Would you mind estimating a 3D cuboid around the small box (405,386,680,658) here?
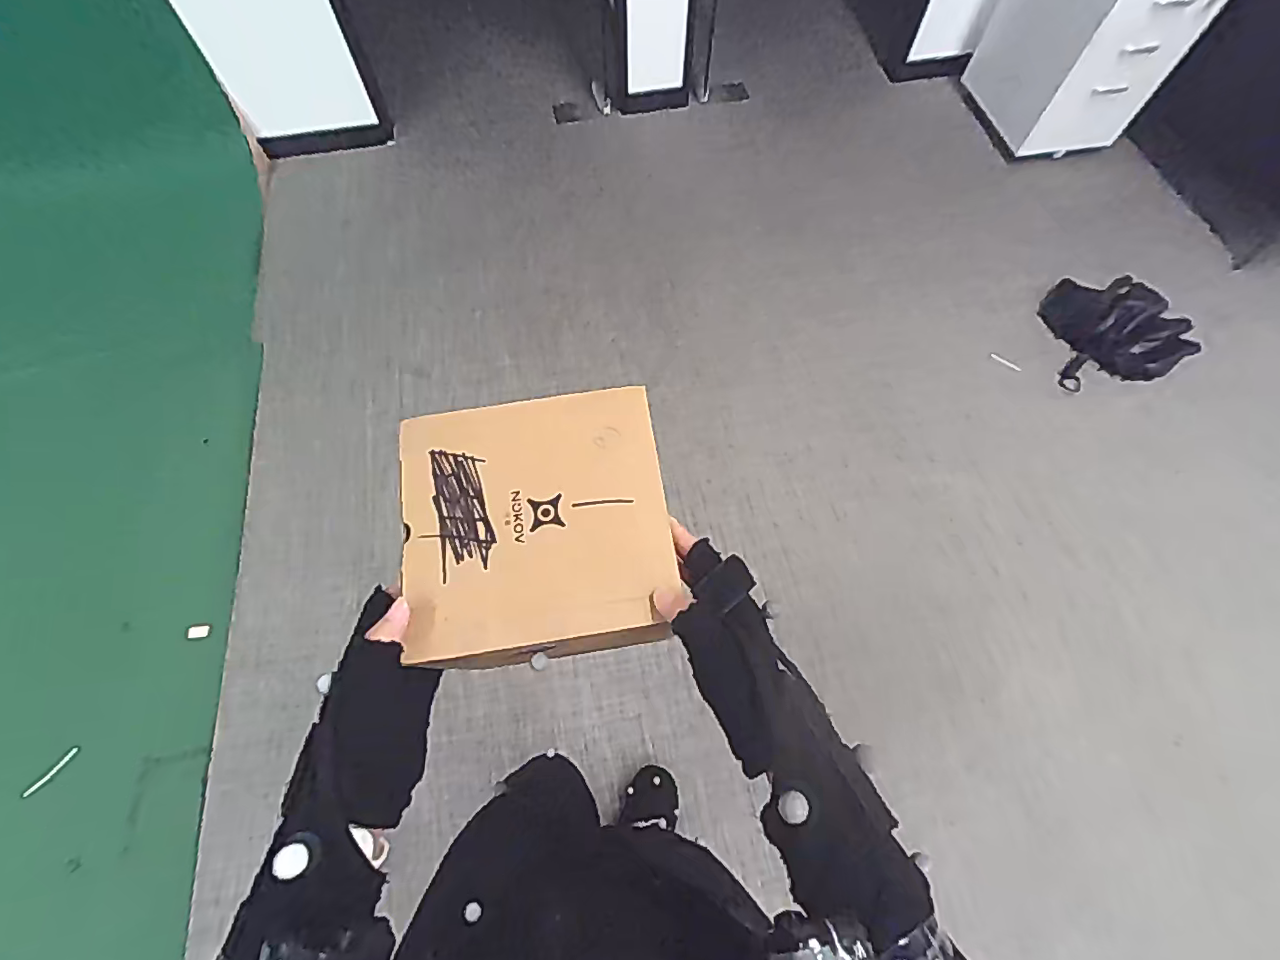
[{"bbox_3d":[-0.069,0.046,0.439,0.179,0.176,0.168,-8,71,-3],"label":"small box"}]
